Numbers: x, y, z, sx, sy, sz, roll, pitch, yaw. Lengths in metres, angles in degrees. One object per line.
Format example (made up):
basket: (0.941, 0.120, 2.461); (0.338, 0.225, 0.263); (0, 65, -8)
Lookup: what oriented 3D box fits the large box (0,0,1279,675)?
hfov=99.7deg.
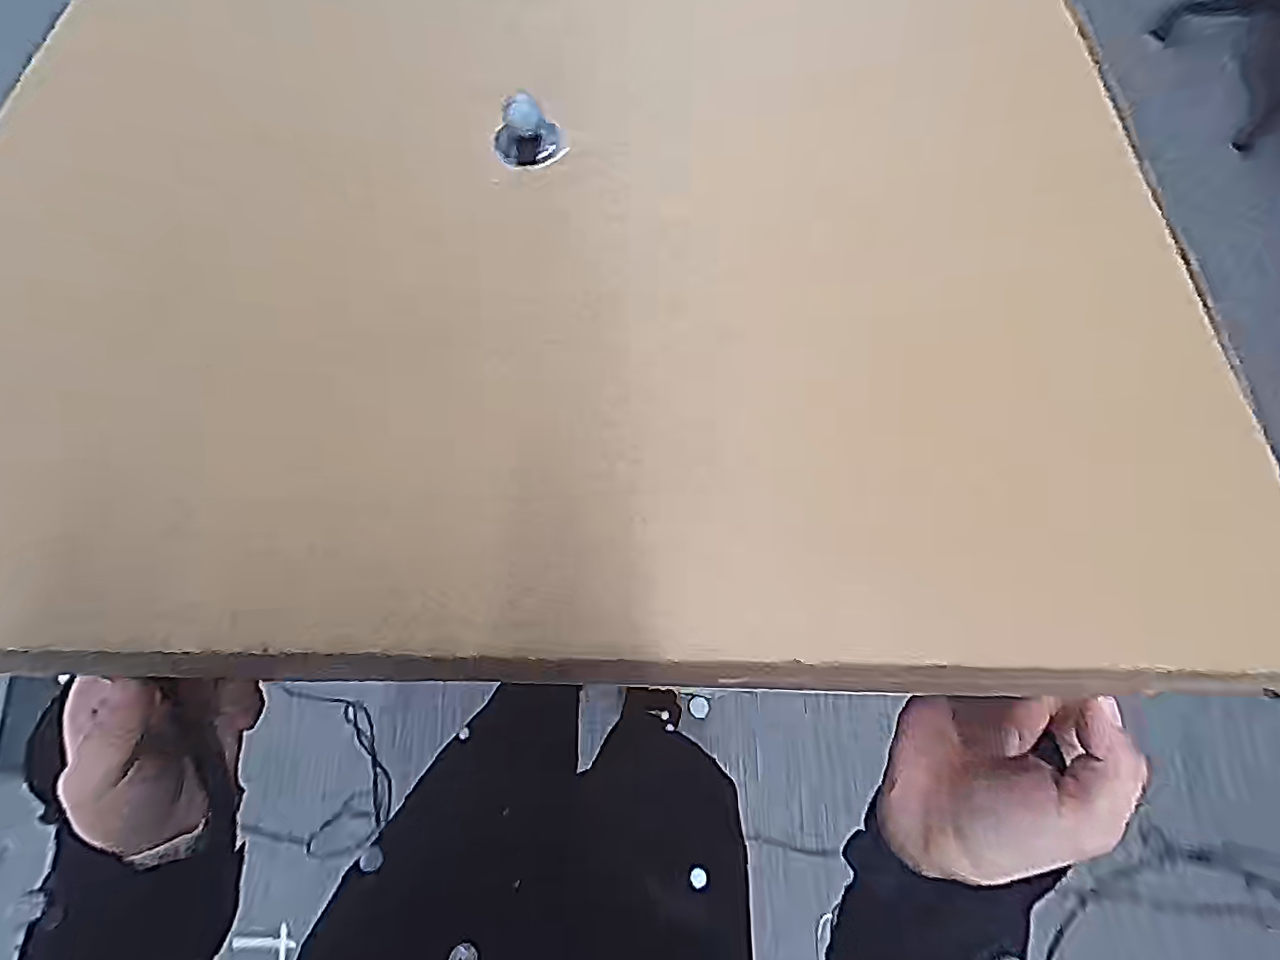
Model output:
large box: (-0.044, -0.057, 0.321); (0.408, 0.320, 0.320); (-2, 70, 2)
